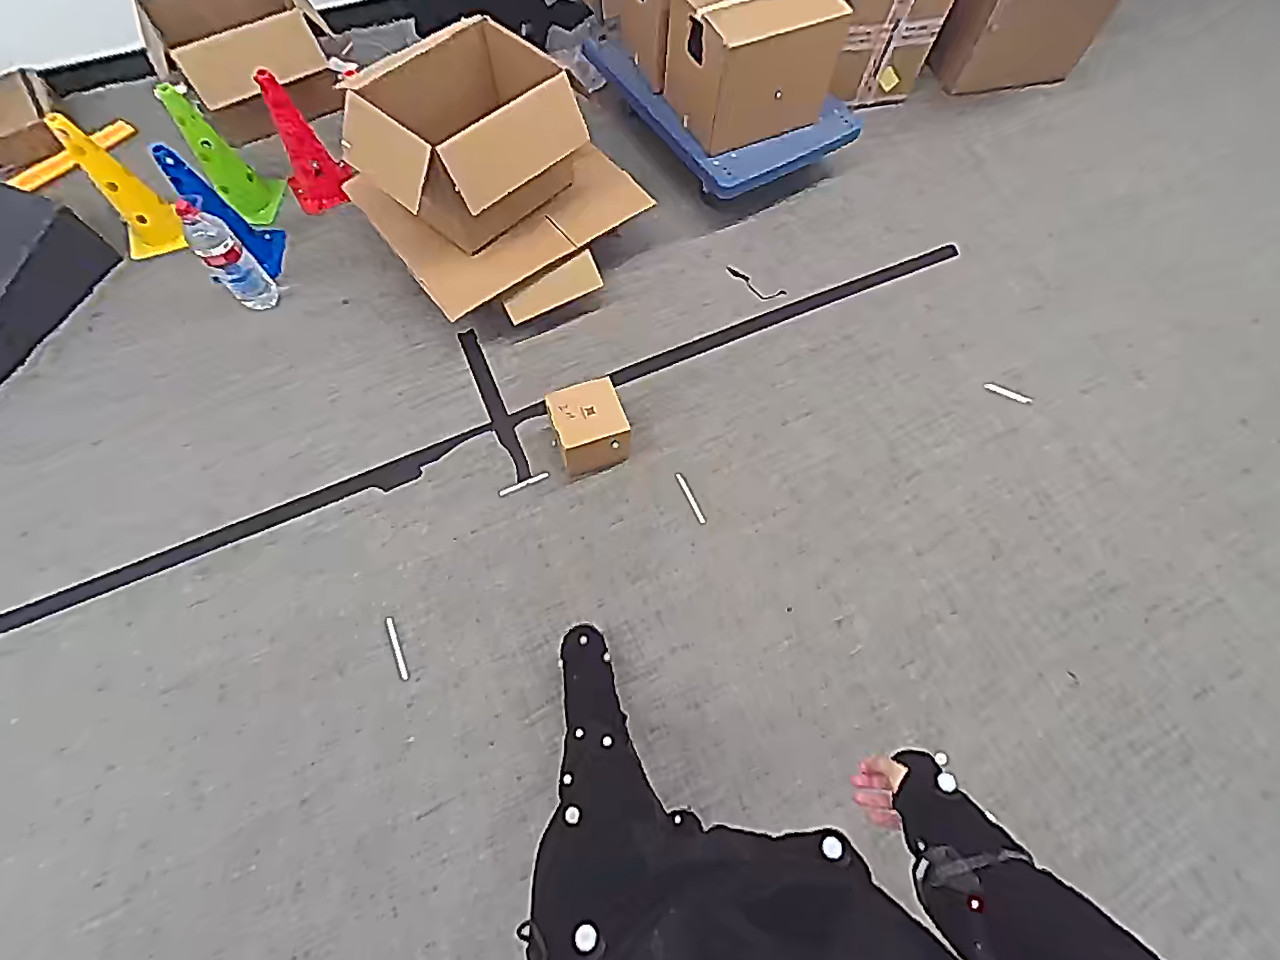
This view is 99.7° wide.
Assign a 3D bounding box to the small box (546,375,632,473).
[{"bbox_3d":[-0.133,-0.140,1.405,0.179,0.176,0.168,-19,70,-10],"label":"small box"}]
